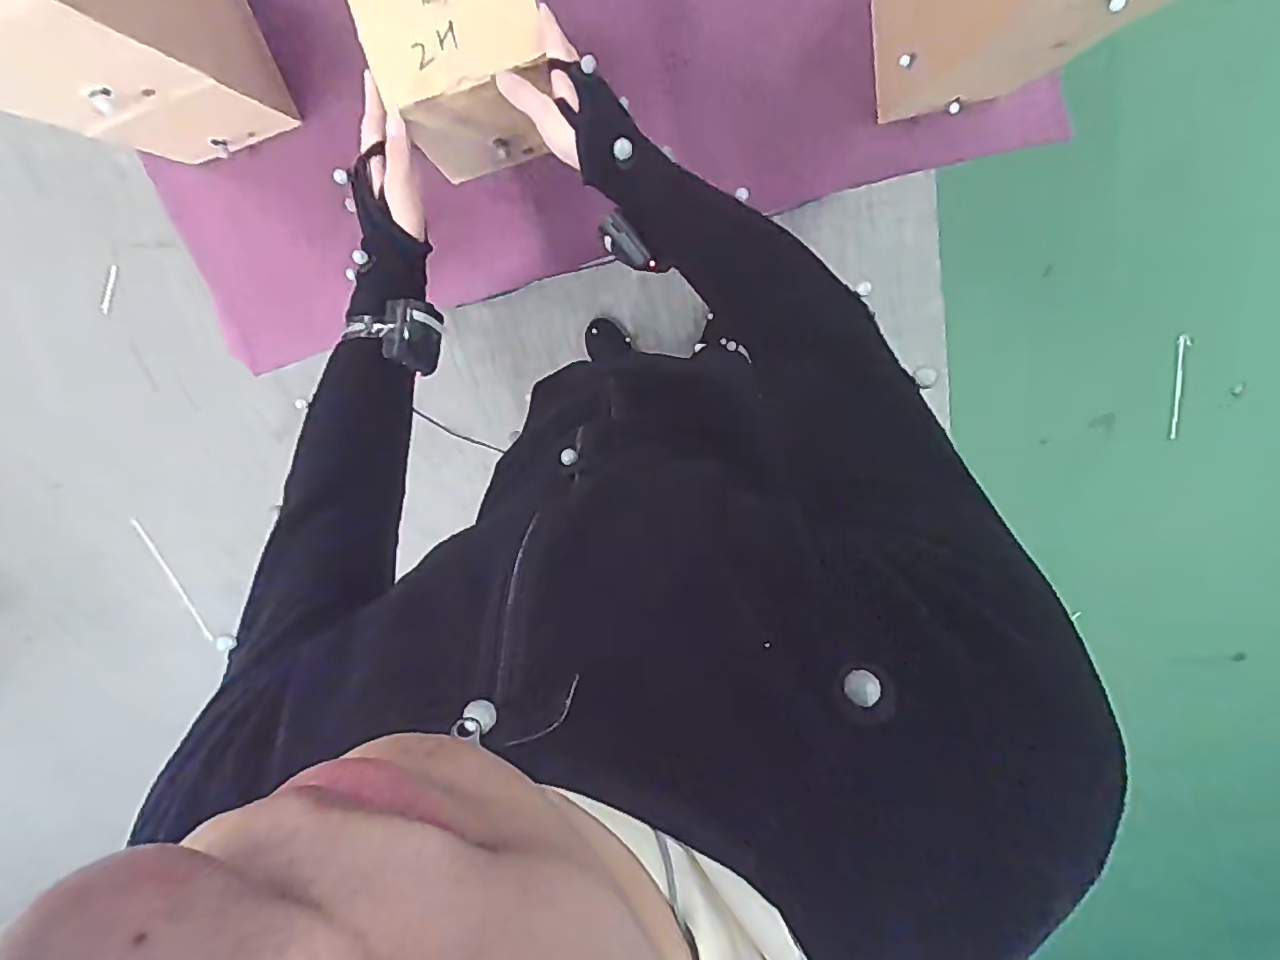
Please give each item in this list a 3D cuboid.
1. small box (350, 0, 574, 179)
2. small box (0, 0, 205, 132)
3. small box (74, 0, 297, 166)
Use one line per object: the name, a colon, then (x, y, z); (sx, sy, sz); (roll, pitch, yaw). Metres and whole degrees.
small box: (-0.178, -0.454, 0.564); (0.168, 0.176, 0.179); (-15, 98, 4)
small box: (-0.554, -0.446, 0.475); (0.168, 0.176, 0.179); (-17, 109, 6)
small box: (-0.556, -0.499, 0.629); (0.168, 0.176, 0.179); (-17, 110, 6)
